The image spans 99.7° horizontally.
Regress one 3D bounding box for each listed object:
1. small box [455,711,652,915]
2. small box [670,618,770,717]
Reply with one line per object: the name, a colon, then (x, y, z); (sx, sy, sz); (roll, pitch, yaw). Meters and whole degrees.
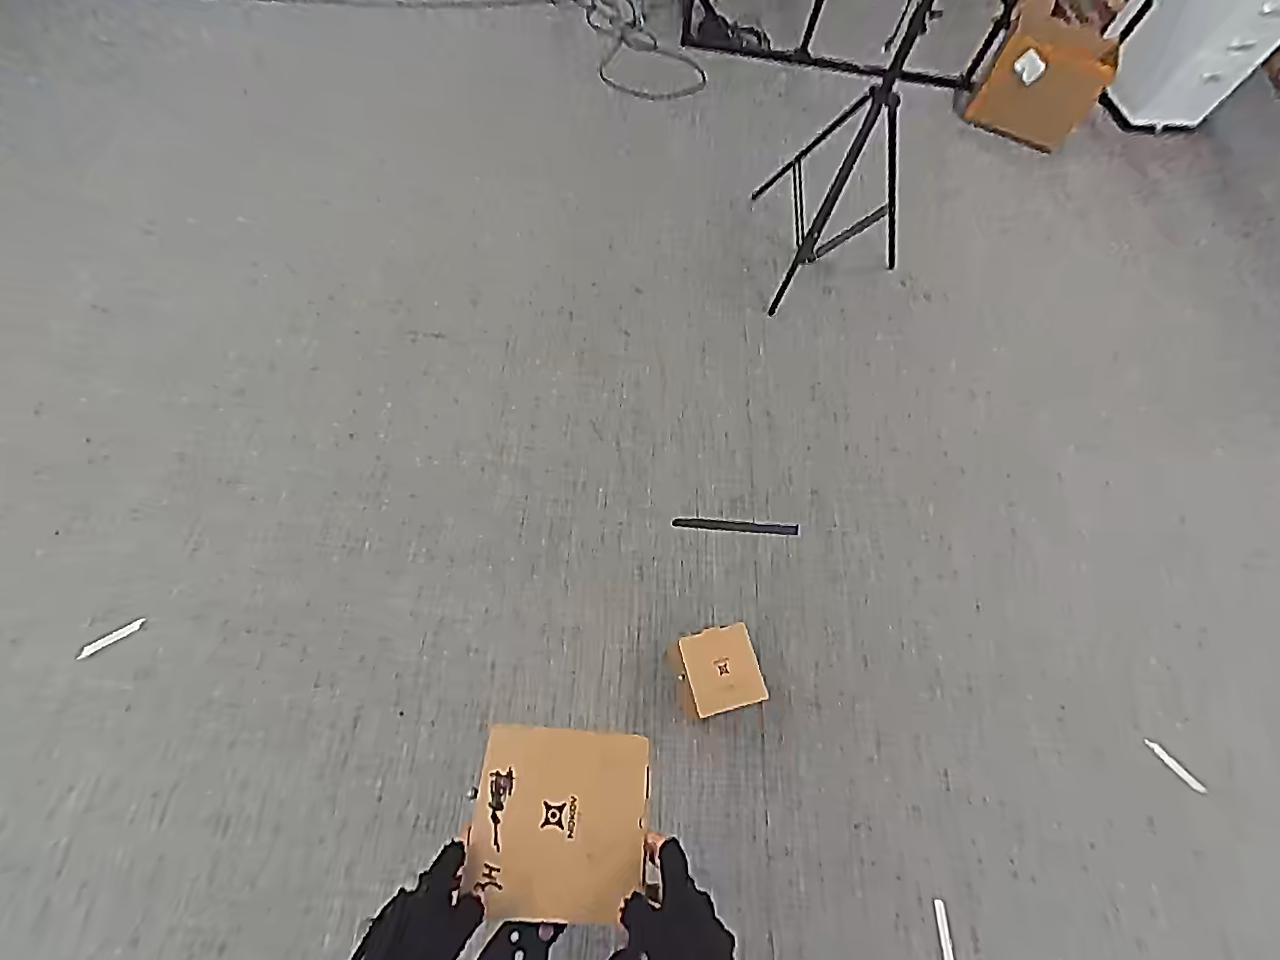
small box: (-0.090, 0.374, 0.604); (0.179, 0.176, 0.168); (8, 51, -5)
small box: (0.178, 0.445, 1.274); (0.168, 0.176, 0.179); (-12, 67, -11)
